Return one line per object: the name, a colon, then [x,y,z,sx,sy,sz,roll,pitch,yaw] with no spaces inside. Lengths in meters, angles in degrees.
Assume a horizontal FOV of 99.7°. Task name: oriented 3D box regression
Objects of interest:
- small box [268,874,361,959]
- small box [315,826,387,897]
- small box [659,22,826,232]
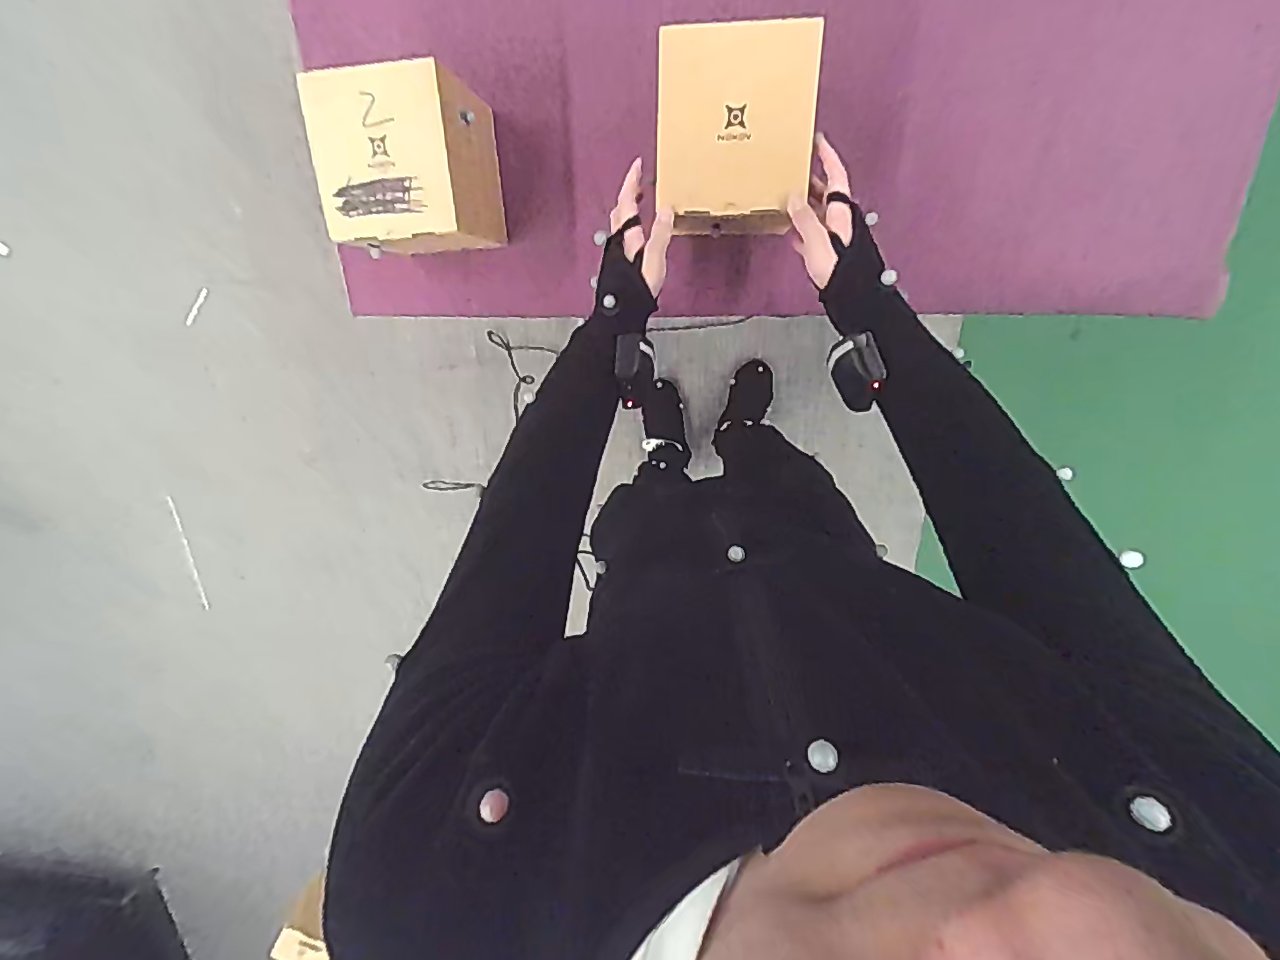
small box: [-1.013,1.393,1.699,0.168,0.176,0.179,30,110,-5]
small box: [-1.003,1.343,1.854,0.168,0.176,0.179,30,109,-5]
small box: [0.110,-0.401,0.644,0.168,0.176,0.179,2,110,6]
